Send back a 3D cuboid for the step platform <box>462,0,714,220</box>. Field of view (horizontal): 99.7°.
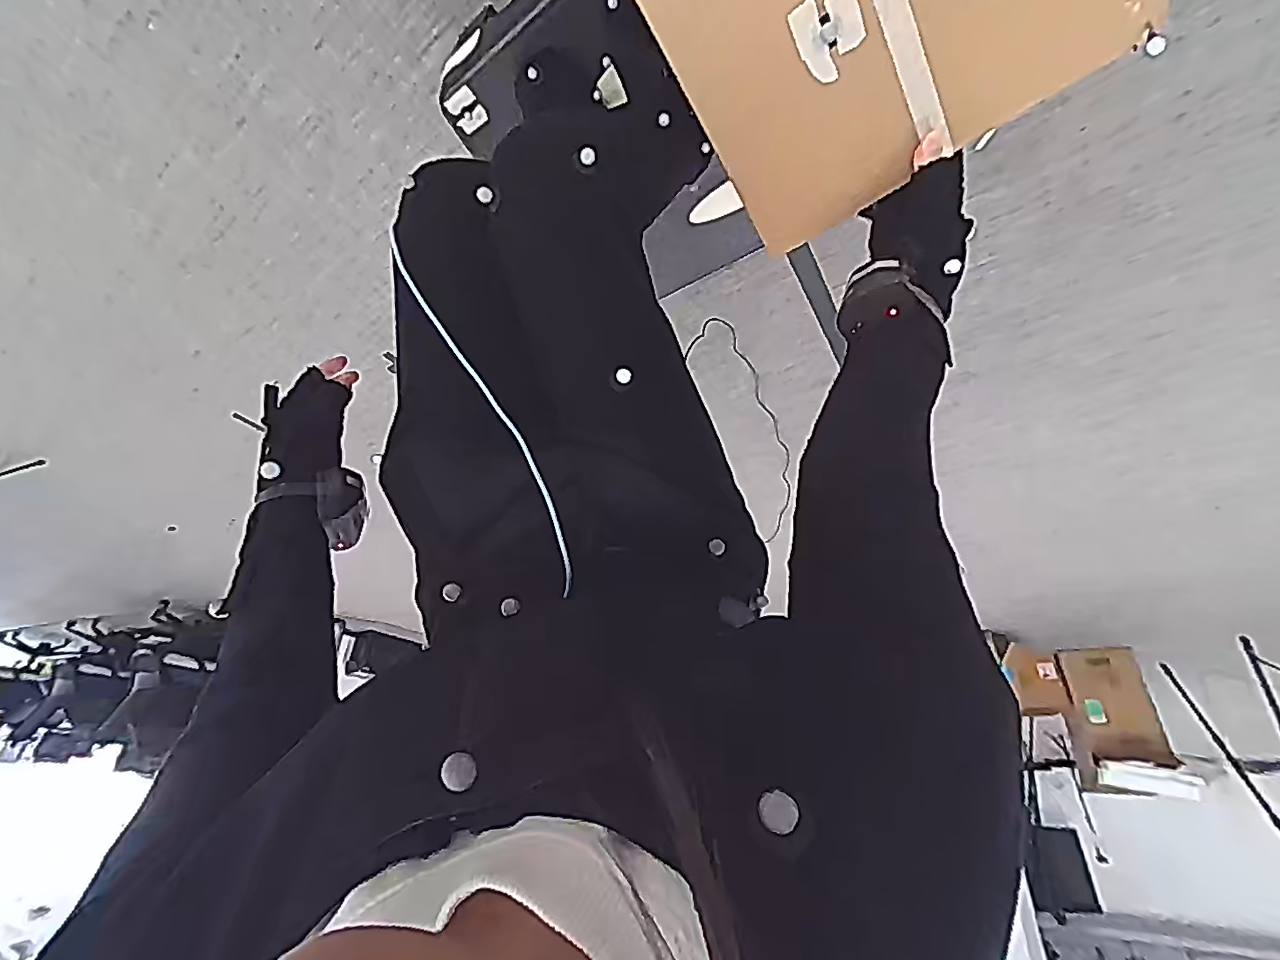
[{"bbox_3d":[0.062,-0.674,0.763,0.684,0.204,0.286,-18,143,32],"label":"step platform"}]

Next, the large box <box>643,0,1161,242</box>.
[{"bbox_3d":[0.167,-0.518,0.480,0.320,0.320,0.408,-23,126,30],"label":"large box"}]
